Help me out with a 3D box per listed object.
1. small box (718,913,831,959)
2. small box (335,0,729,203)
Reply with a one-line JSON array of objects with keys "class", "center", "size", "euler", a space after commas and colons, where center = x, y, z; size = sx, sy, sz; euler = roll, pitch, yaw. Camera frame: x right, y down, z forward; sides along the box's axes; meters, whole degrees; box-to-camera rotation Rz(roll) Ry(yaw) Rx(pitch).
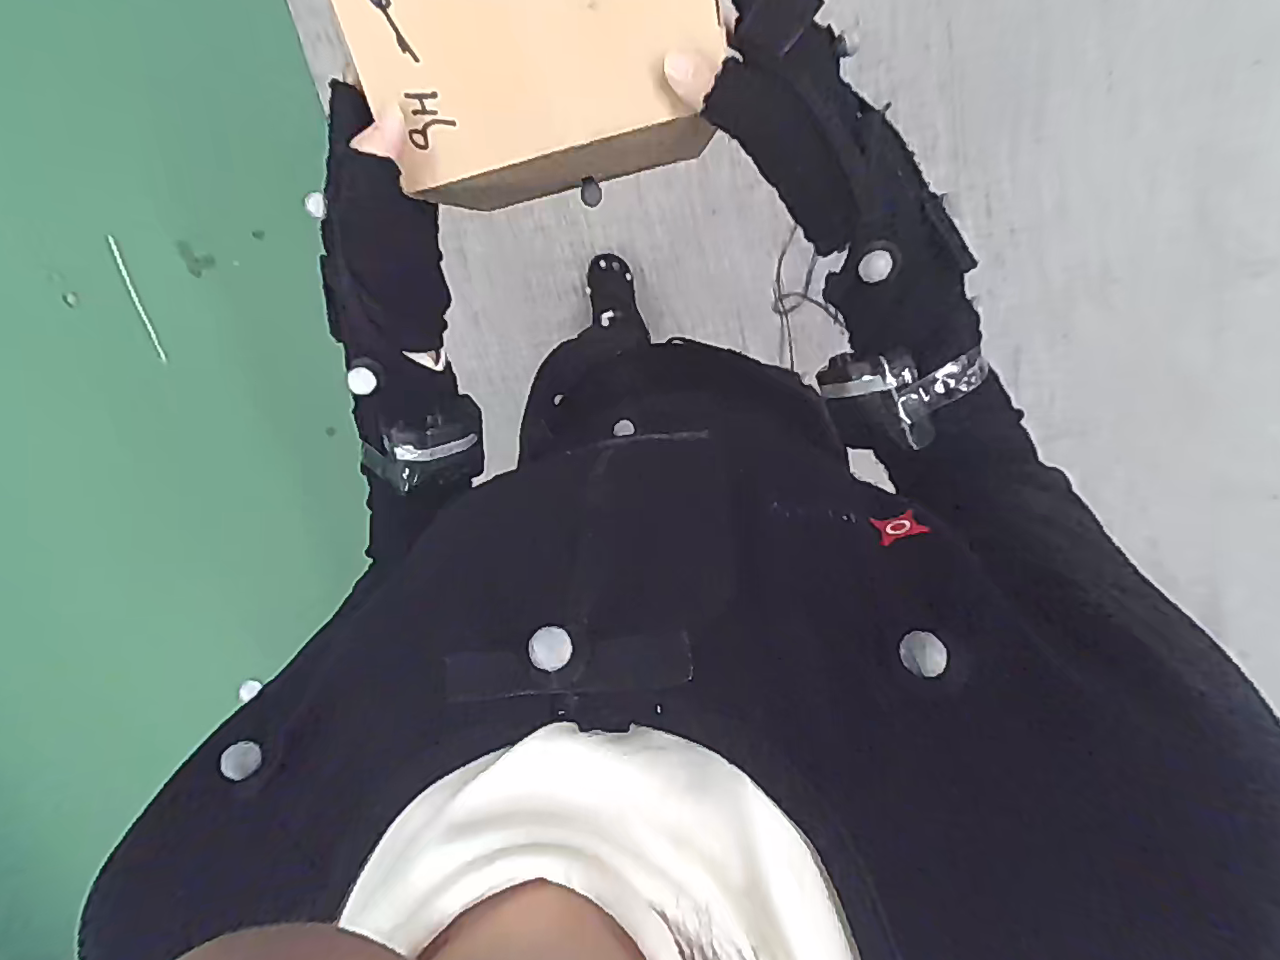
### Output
[{"class": "small box", "center": [0.220, 0.814, 0.830], "size": [0.179, 0.176, 0.168], "euler": [-13, 108, 7]}, {"class": "small box", "center": [-0.059, -0.274, 0.313], "size": [0.179, 0.176, 0.168], "euler": [-12, 111, 4]}]
